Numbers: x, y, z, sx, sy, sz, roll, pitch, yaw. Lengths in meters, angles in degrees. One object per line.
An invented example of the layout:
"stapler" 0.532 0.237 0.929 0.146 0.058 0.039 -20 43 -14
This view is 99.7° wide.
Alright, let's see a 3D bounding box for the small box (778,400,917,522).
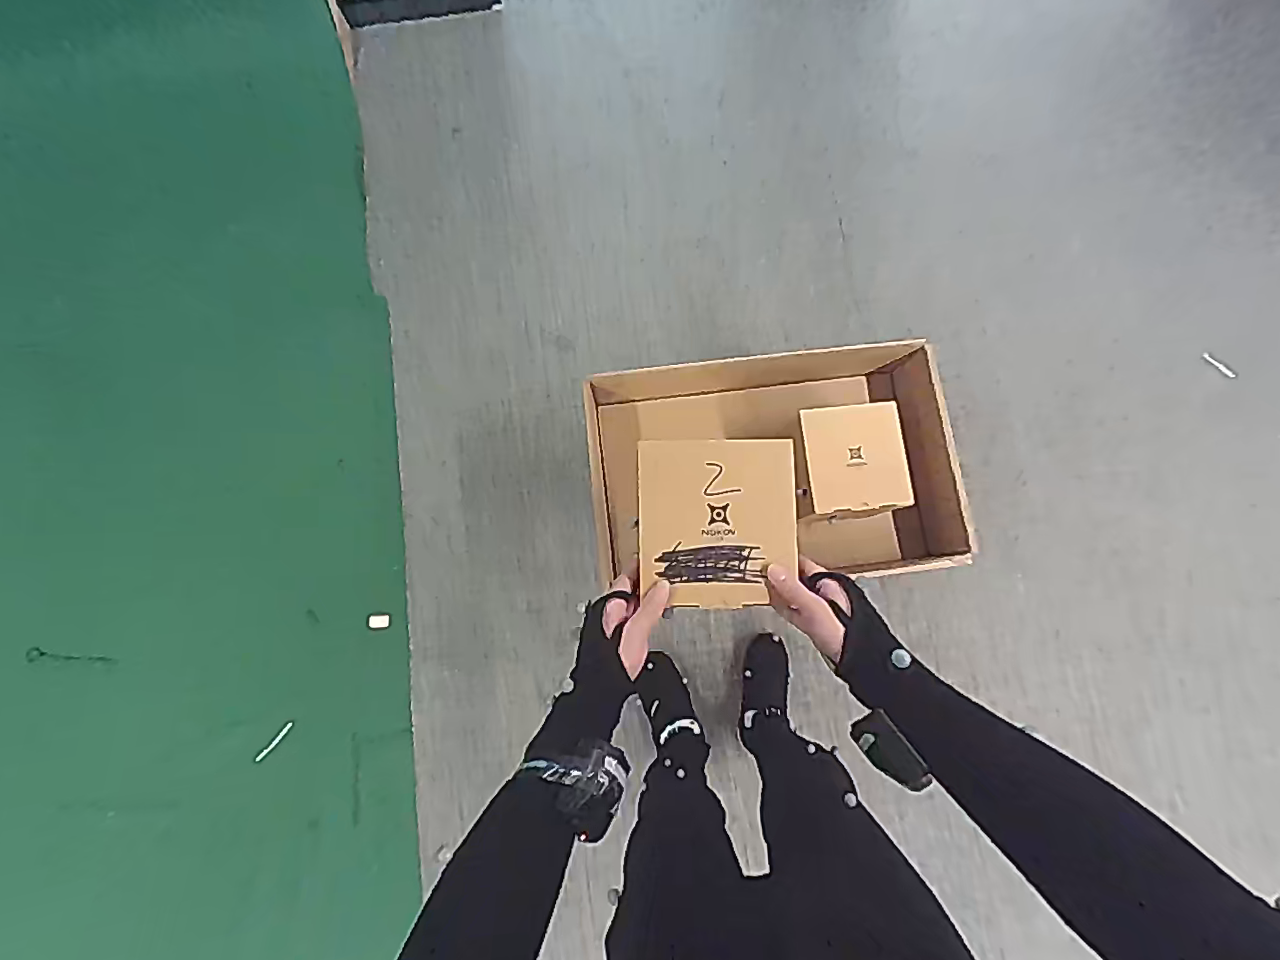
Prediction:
"small box" 0.353 -0.027 0.952 0.168 0.176 0.179 -6 81 -2
